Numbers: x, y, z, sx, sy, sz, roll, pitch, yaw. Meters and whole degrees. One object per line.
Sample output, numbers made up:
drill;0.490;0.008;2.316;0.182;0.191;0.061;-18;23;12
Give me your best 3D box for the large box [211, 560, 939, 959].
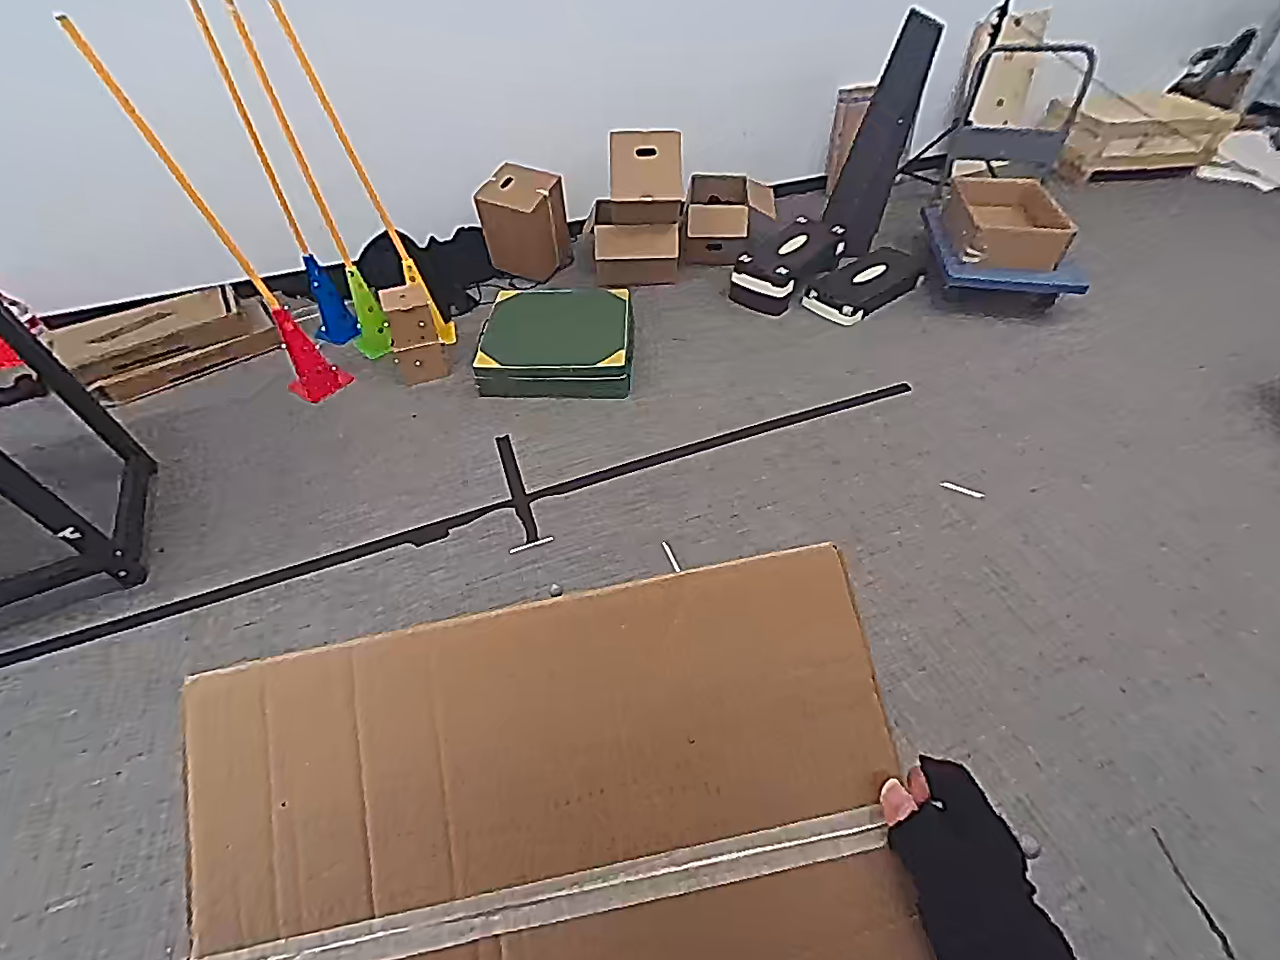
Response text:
large box;-0.038;0.266;0.459;0.408;0.320;0.320;-12;78;-1
